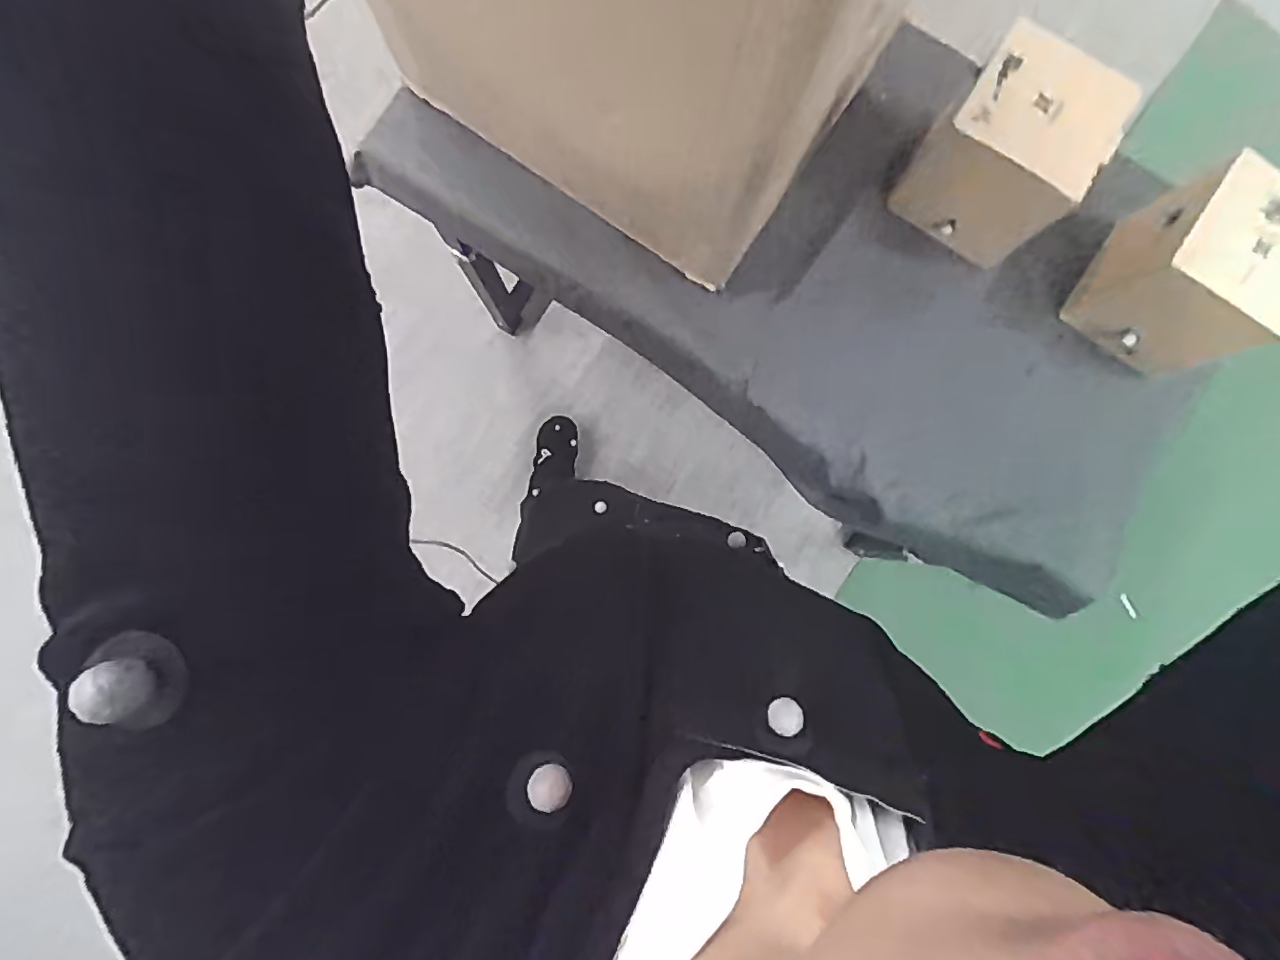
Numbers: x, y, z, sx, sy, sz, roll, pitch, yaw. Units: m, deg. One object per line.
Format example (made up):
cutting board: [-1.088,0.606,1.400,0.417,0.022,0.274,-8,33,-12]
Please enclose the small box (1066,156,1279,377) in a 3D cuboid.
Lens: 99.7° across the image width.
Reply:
small box: [0.725,-0.265,0.713,0.168,0.176,0.179,35,86,1]
